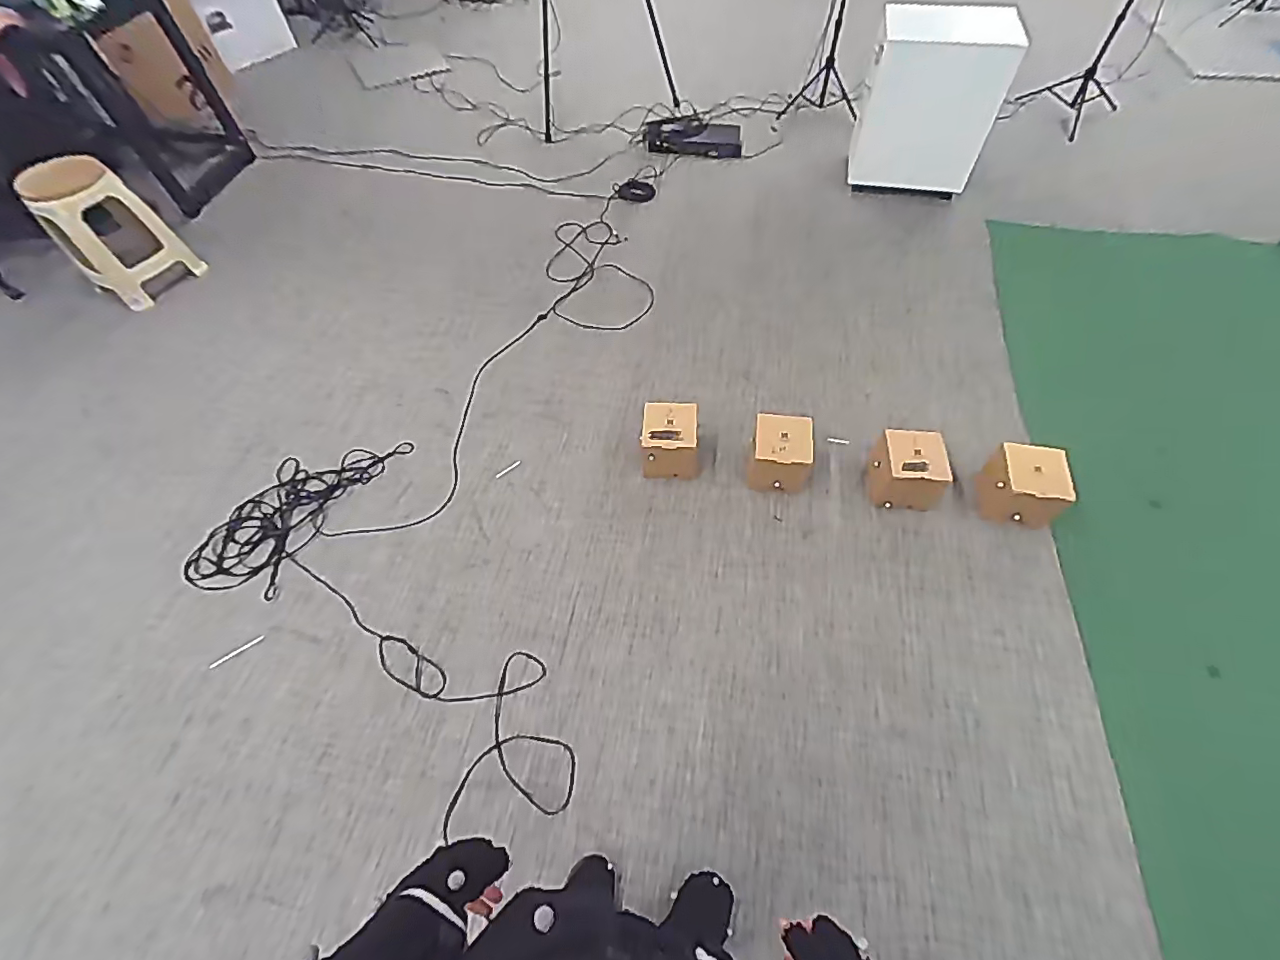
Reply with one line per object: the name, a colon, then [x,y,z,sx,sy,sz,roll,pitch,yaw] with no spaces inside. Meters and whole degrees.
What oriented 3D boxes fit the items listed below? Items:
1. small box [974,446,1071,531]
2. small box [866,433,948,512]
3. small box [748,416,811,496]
small box: [1.117,0.027,1.596,0.168,0.176,0.179,9,58,8]
small box: [0.799,-0.020,1.635,0.168,0.176,0.179,5,56,5]
small box: [0.430,-0.073,1.679,0.168,0.176,0.179,6,58,7]
